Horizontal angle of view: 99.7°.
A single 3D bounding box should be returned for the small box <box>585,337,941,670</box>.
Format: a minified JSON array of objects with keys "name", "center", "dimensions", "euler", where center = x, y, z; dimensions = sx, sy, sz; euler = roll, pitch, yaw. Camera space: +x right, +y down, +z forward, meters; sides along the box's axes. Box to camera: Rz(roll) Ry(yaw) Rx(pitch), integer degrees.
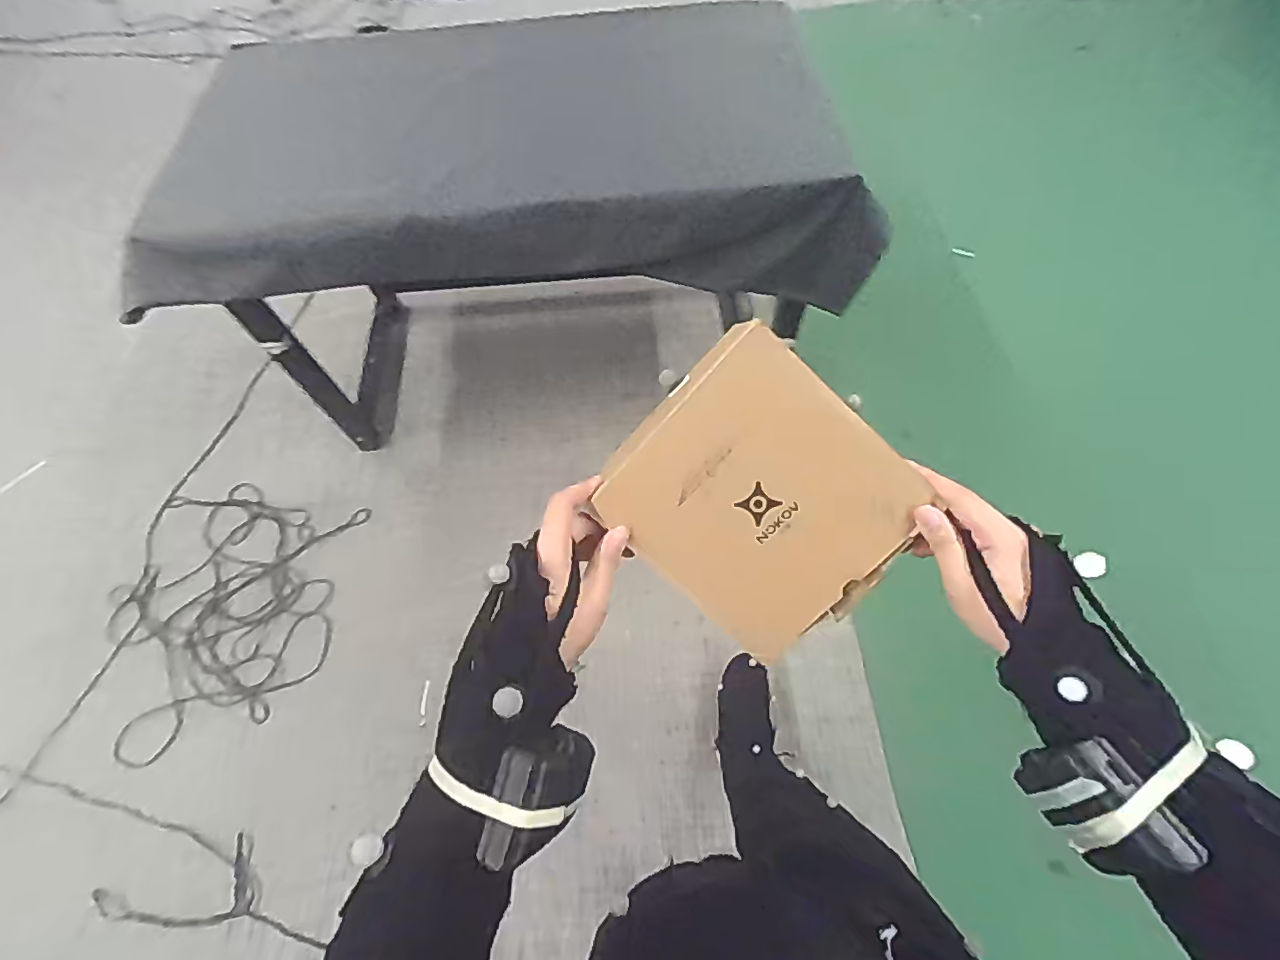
[{"name":"small box","center":[0.084,0.004,0.433],"dimensions":[0.179,0.176,0.168],"euler":[41,102,-6]}]
